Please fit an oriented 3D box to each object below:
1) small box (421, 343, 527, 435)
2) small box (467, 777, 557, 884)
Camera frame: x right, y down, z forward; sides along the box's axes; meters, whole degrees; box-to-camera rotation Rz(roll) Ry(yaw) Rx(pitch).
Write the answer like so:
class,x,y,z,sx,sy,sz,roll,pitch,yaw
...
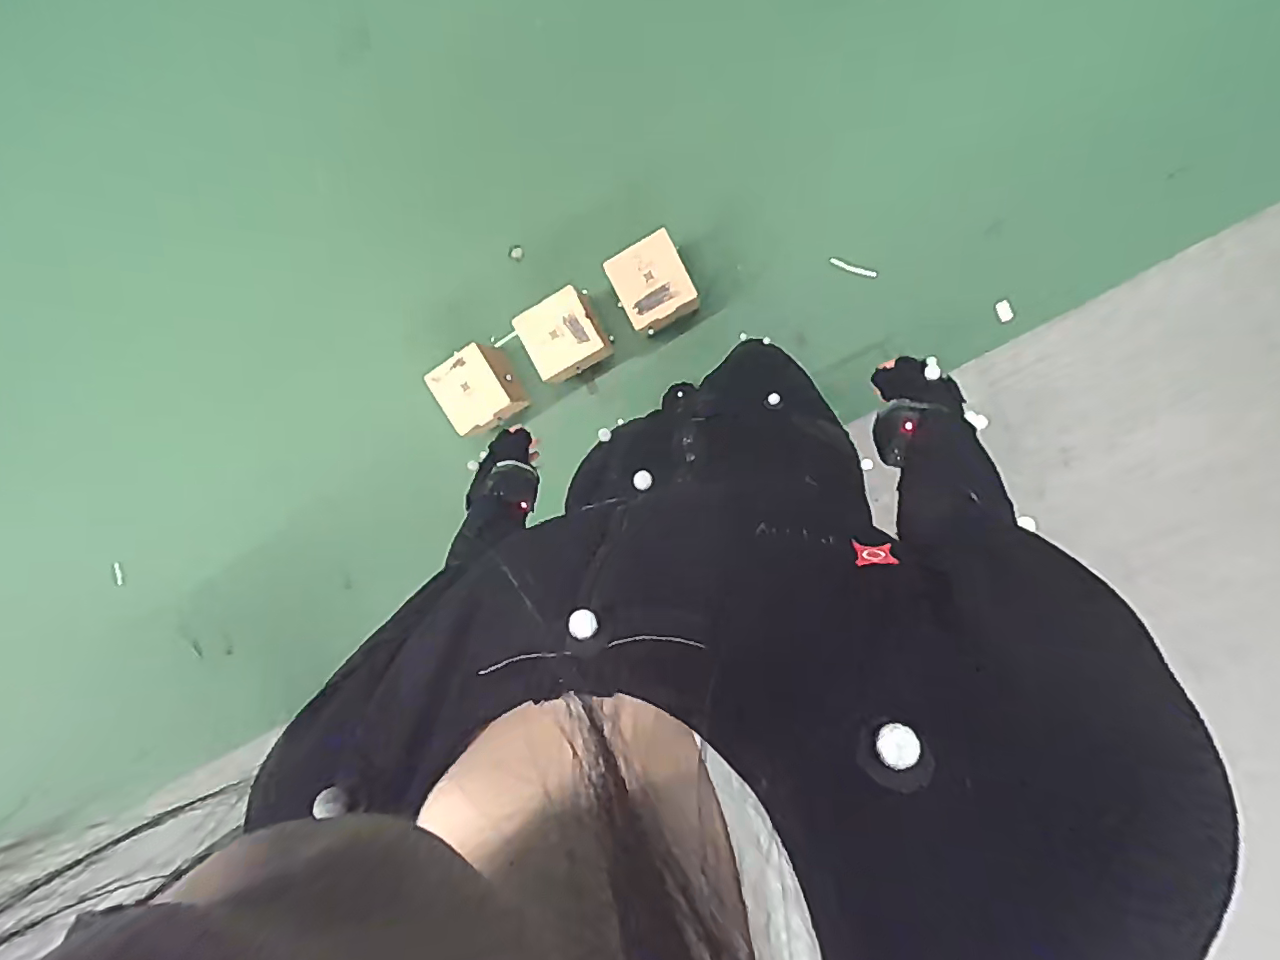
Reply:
class,x,y,z,sx,sy,sz,roll,pitch,yaw
small box,-0.424,-0.241,1.413,0.168,0.176,0.179,-30,96,11
small box,-0.378,1.052,1.634,0.179,0.176,0.168,-41,93,12
